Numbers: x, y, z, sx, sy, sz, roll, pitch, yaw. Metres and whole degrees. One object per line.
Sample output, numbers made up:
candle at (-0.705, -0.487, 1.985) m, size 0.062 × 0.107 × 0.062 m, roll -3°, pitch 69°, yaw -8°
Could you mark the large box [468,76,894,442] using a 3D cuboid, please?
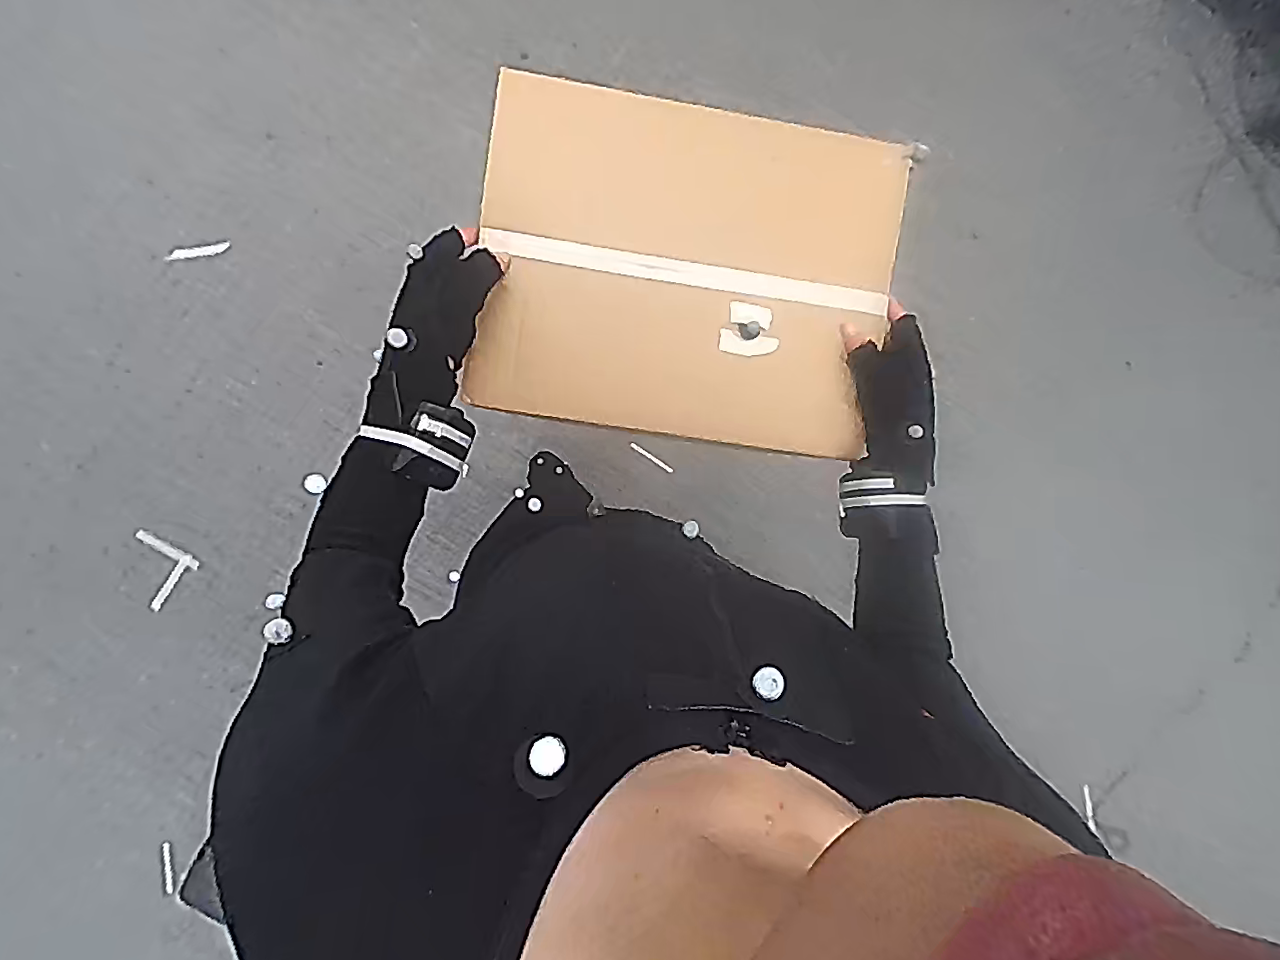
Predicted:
large box at (0.030, -0.221, 0.681) m, size 0.408 × 0.320 × 0.320 m, roll 7°, pitch 95°, yaw -5°
